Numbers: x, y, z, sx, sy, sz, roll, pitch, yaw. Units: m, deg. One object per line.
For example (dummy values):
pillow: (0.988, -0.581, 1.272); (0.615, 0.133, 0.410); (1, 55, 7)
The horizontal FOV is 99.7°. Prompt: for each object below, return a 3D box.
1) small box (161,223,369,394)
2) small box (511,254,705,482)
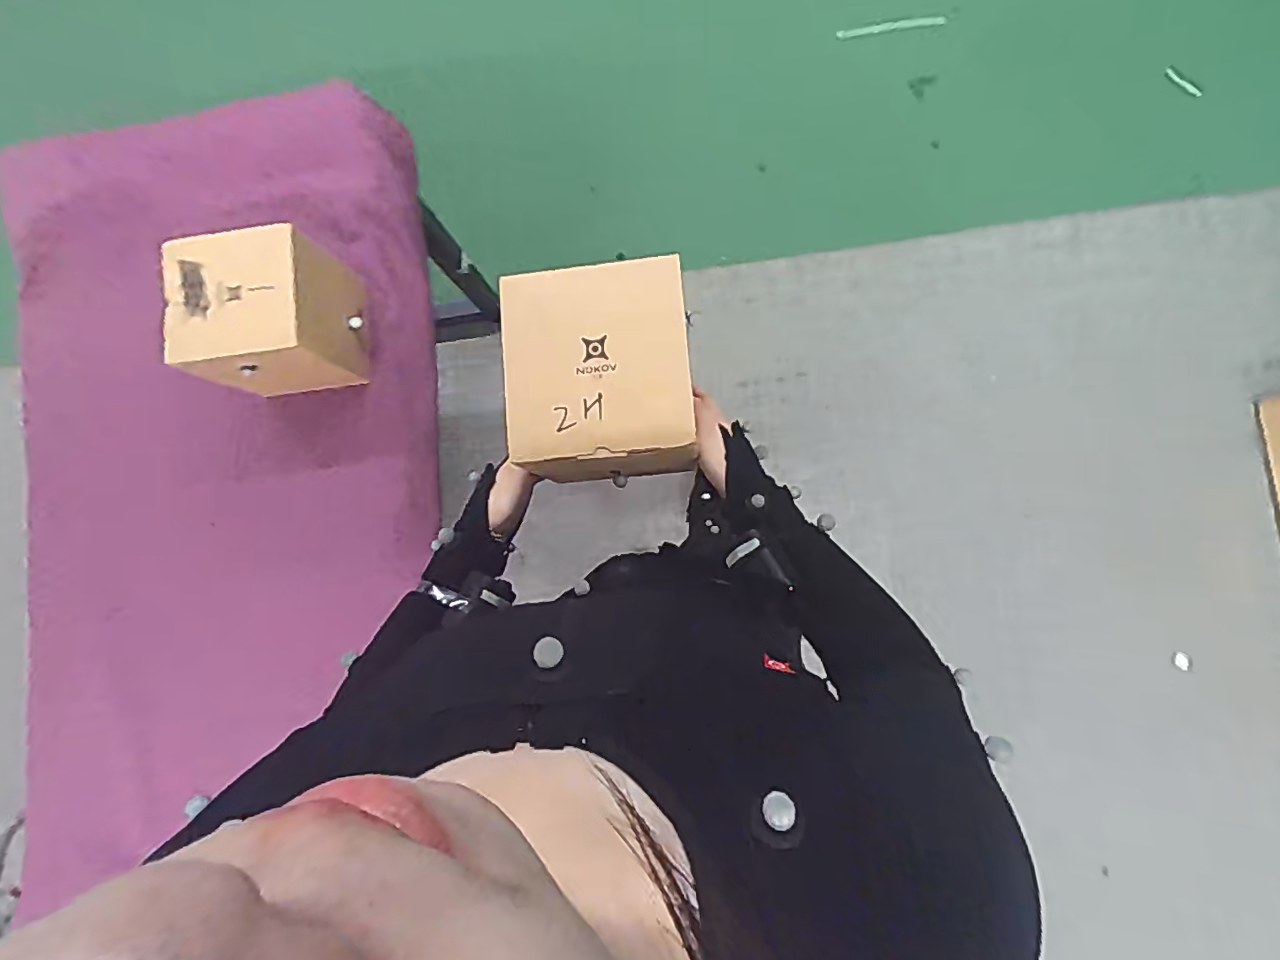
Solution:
small box: (-0.512, -0.226, 0.755); (0.179, 0.176, 0.168); (-7, 85, 3)
small box: (-0.024, -0.099, 0.549); (0.168, 0.176, 0.179); (-4, 83, 5)
